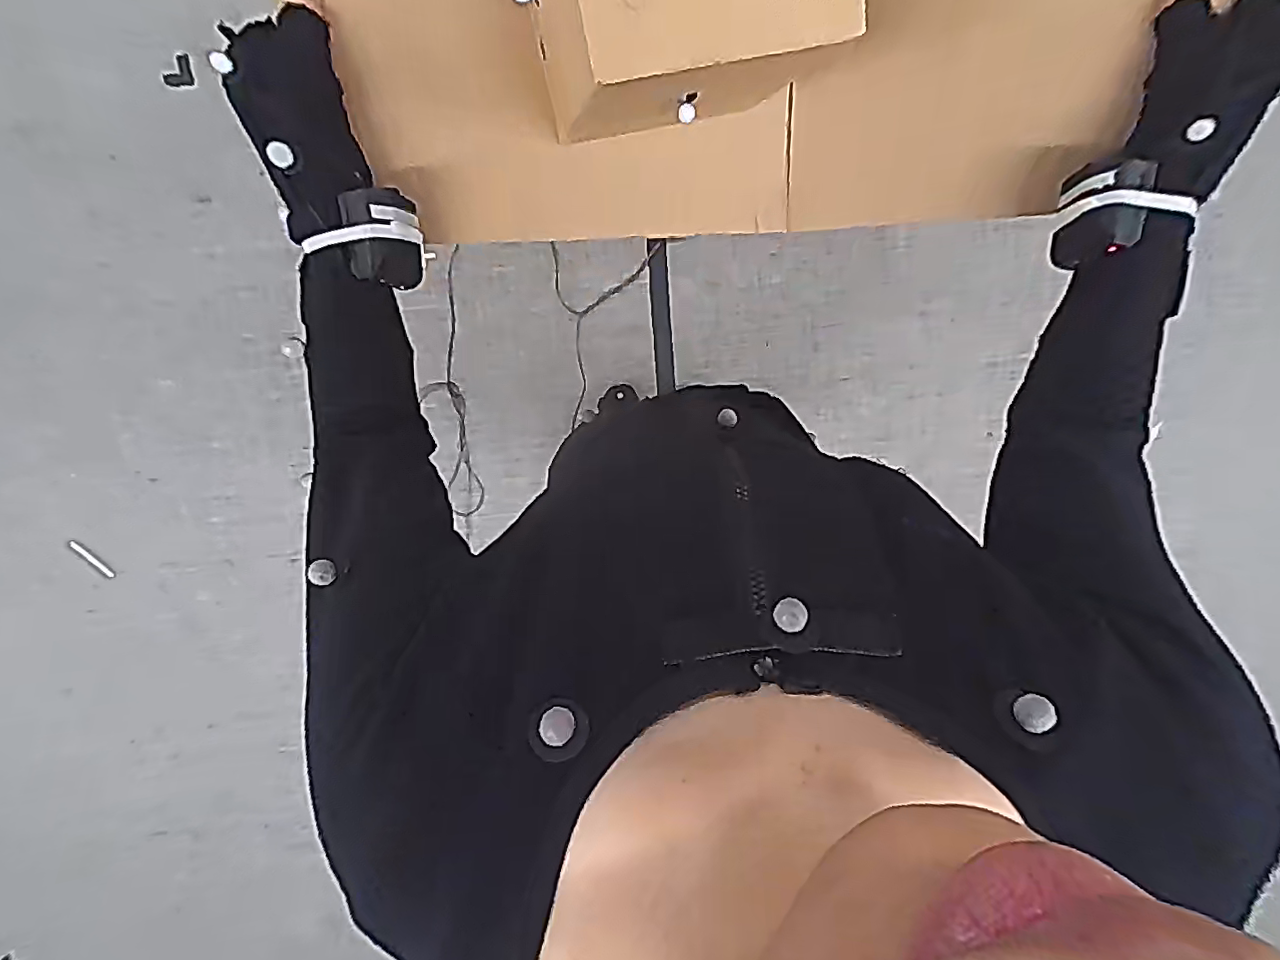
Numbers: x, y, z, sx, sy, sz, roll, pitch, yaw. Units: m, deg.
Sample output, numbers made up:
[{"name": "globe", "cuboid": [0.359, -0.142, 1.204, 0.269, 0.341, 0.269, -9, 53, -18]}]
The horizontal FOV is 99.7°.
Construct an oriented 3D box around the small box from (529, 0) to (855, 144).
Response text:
[{"name": "small box", "cuboid": [0.020, -0.352, 0.370, 0.179, 0.176, 0.168, -16, 113, -8]}]
